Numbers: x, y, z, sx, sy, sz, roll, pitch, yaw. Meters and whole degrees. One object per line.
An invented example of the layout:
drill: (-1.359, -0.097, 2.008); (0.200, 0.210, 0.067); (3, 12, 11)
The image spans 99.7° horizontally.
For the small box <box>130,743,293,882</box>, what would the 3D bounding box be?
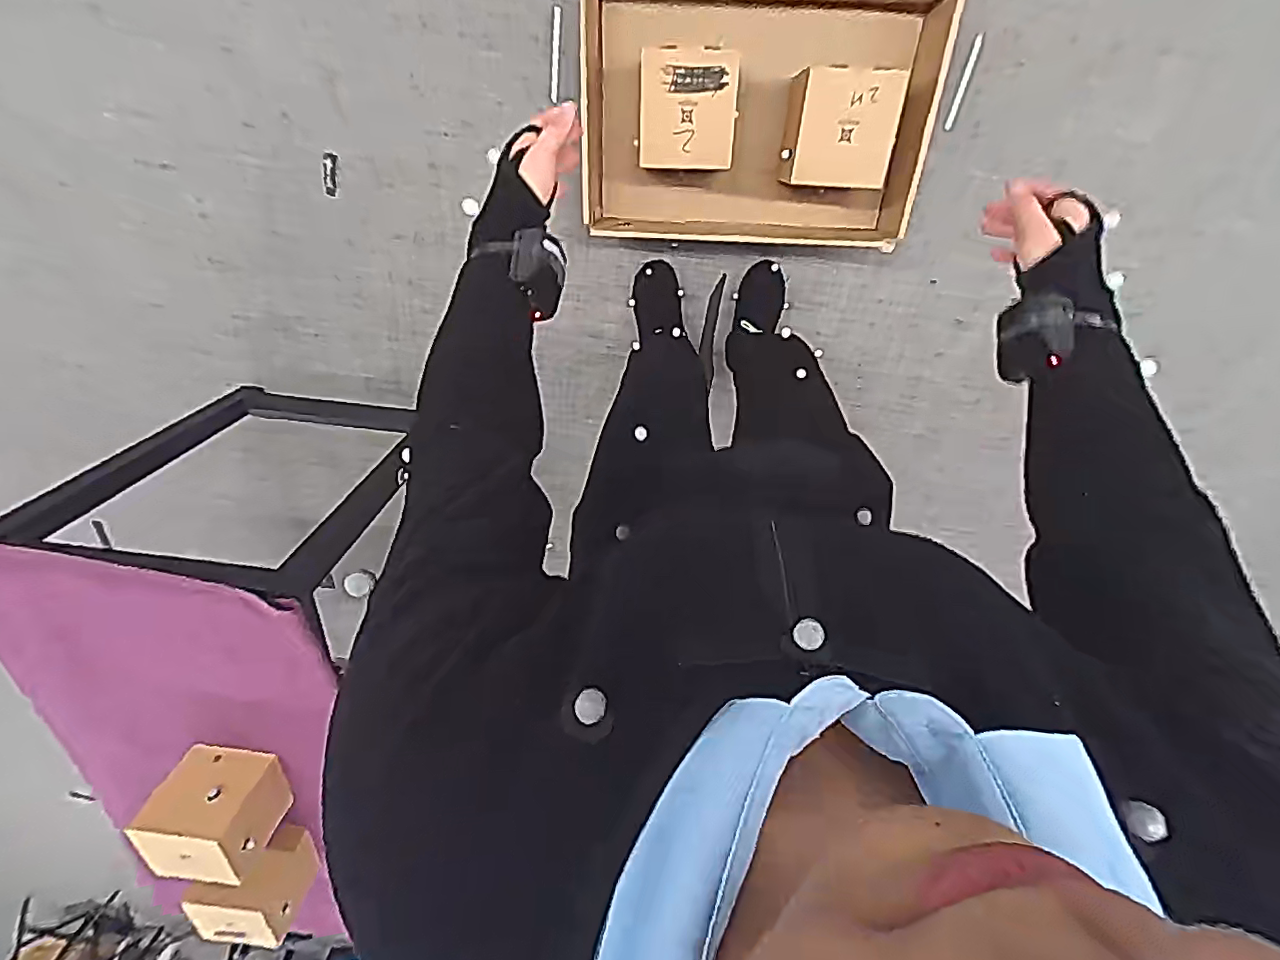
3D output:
small box: (-0.823, 0.647, 1.062); (0.168, 0.176, 0.179); (8, 122, -1)

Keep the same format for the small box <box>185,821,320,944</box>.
small box: (-0.848, 0.890, 1.208); (0.168, 0.176, 0.179); (7, 120, -1)

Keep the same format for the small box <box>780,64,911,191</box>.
small box: (0.363, -0.641, 0.995); (0.168, 0.176, 0.179); (4, 120, 1)
